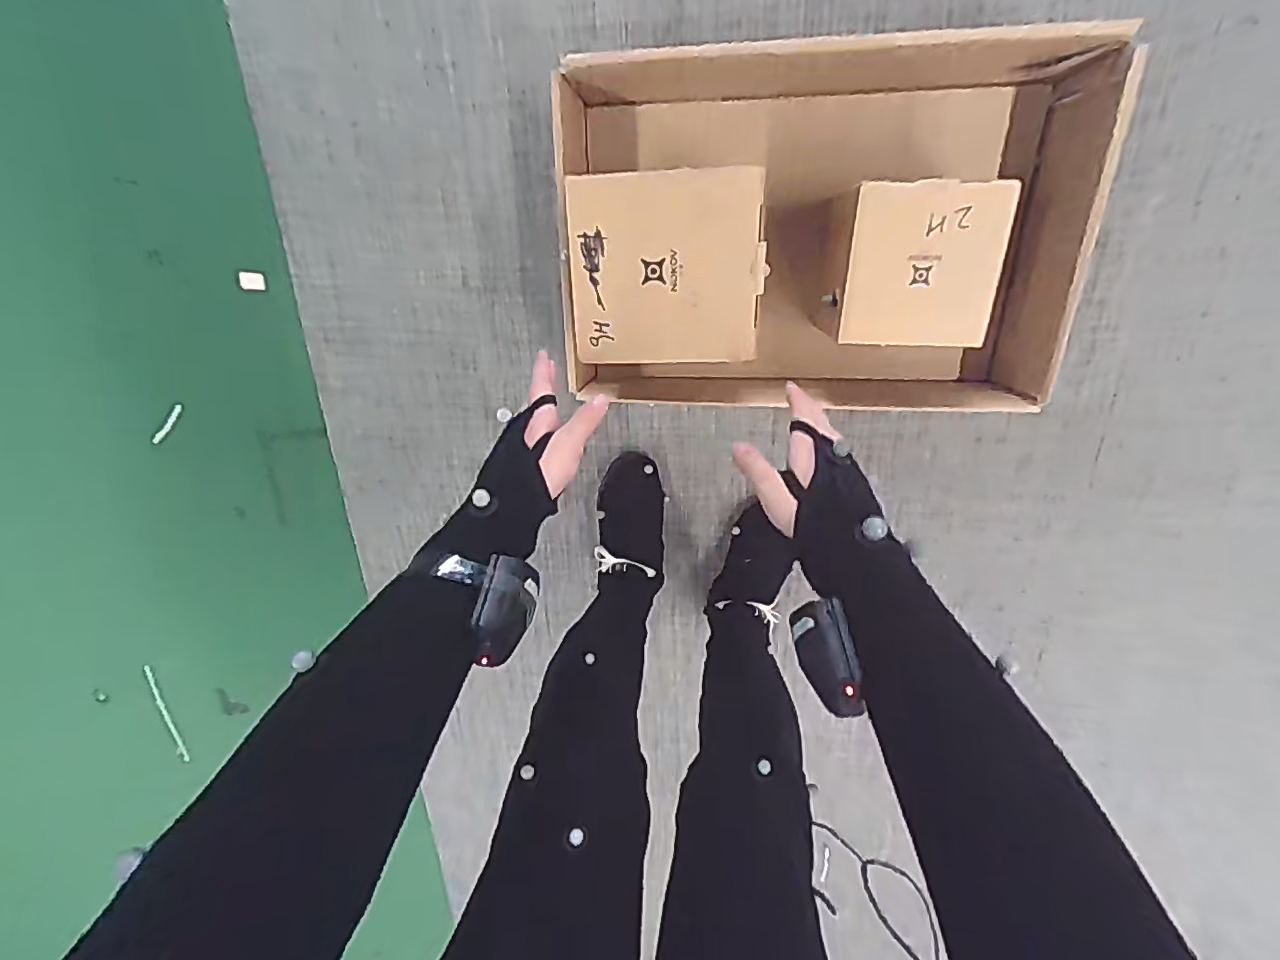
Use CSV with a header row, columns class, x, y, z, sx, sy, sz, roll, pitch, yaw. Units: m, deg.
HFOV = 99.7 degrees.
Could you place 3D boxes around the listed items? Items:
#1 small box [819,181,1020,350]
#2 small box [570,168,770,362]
class,x,y,z,sx,sy,sz,roll,pitch,yaw
small box,0.331,-0.268,0.685,0.168,0.176,0.179,4,110,7
small box,0.033,-0.219,0.568,0.179,0.176,0.168,1,110,6
